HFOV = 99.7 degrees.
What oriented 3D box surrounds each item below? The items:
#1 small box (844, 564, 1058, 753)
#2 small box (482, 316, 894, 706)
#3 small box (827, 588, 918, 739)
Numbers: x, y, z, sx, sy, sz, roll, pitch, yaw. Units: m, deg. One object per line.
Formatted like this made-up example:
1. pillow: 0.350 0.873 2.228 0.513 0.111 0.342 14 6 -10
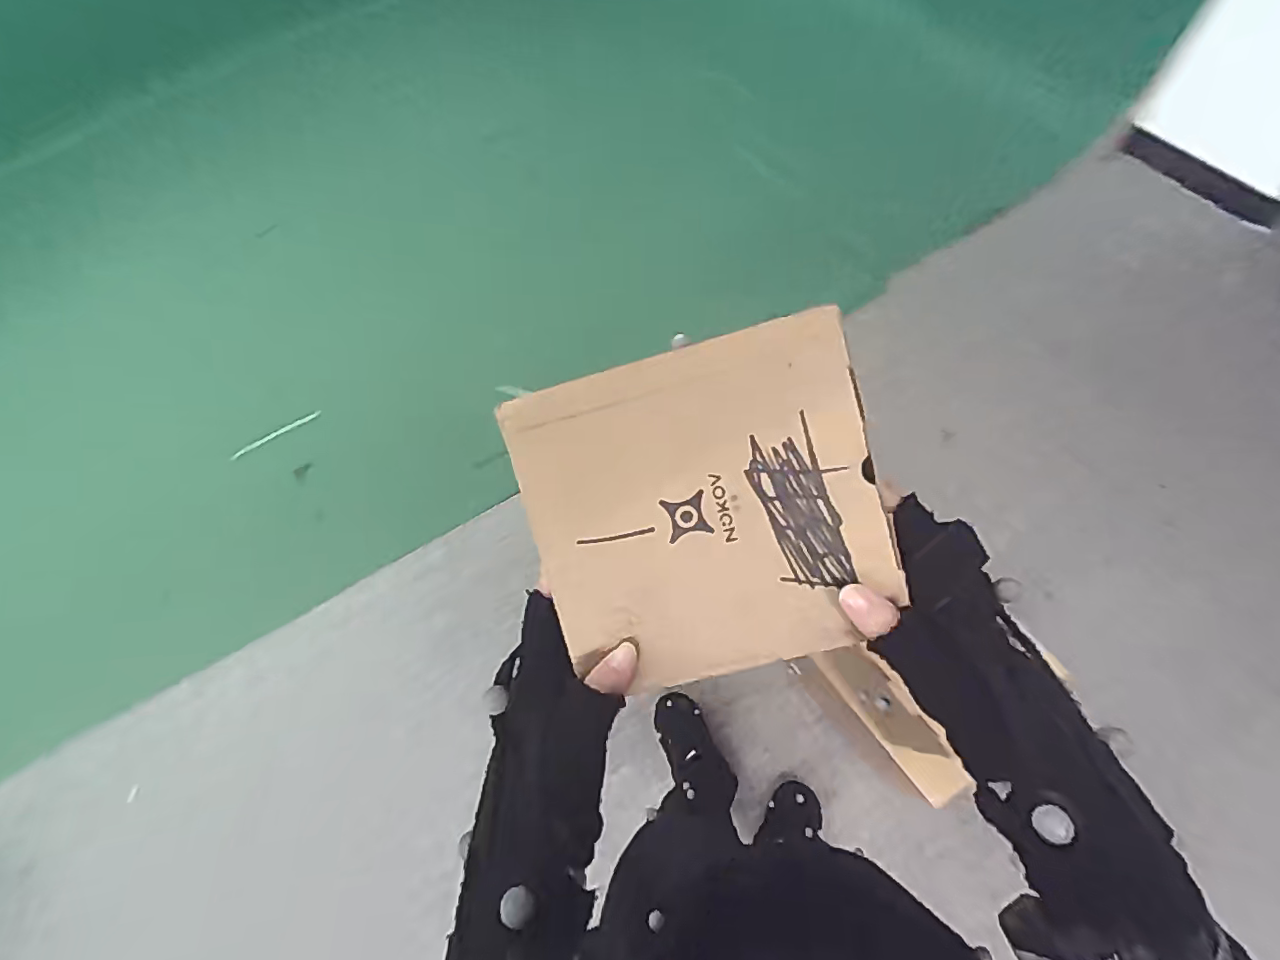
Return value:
1. small box: 0.402 0.248 0.742 0.179 0.176 0.168 -34 64 -4
2. small box: 0.029 0.011 0.349 0.179 0.176 0.168 -16 94 6
3. small box: 0.432 0.308 0.891 0.168 0.176 0.179 -32 65 -3
